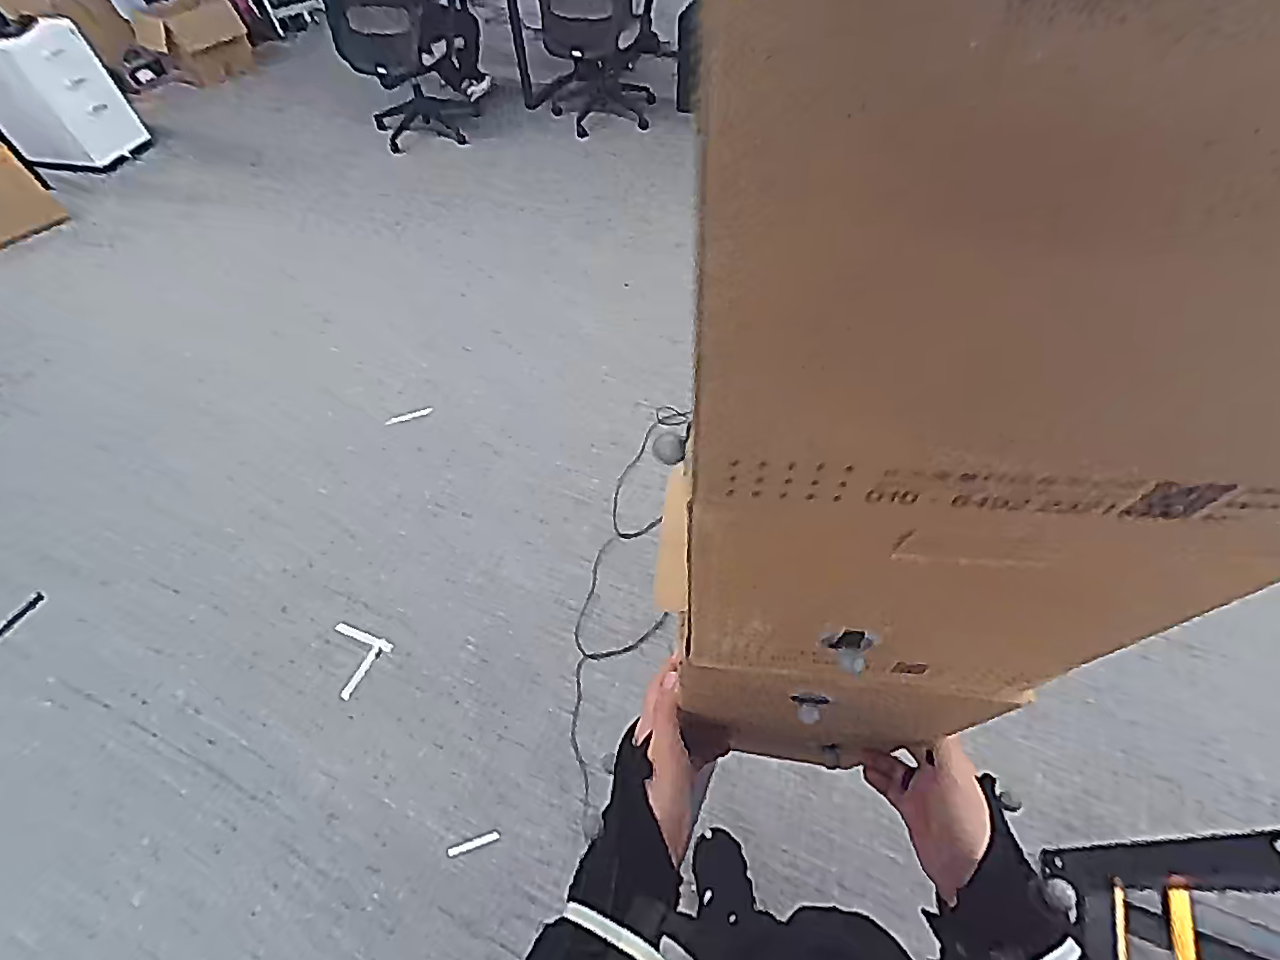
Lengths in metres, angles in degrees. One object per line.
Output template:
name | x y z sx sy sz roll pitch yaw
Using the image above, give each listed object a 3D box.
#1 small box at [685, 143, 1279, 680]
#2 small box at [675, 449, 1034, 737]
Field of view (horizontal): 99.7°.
small box | 0.108 -0.024 0.247 0.168 0.176 0.179 3 58 6
small box | 0.119 0.073 0.378 0.179 0.176 0.168 4 58 7
